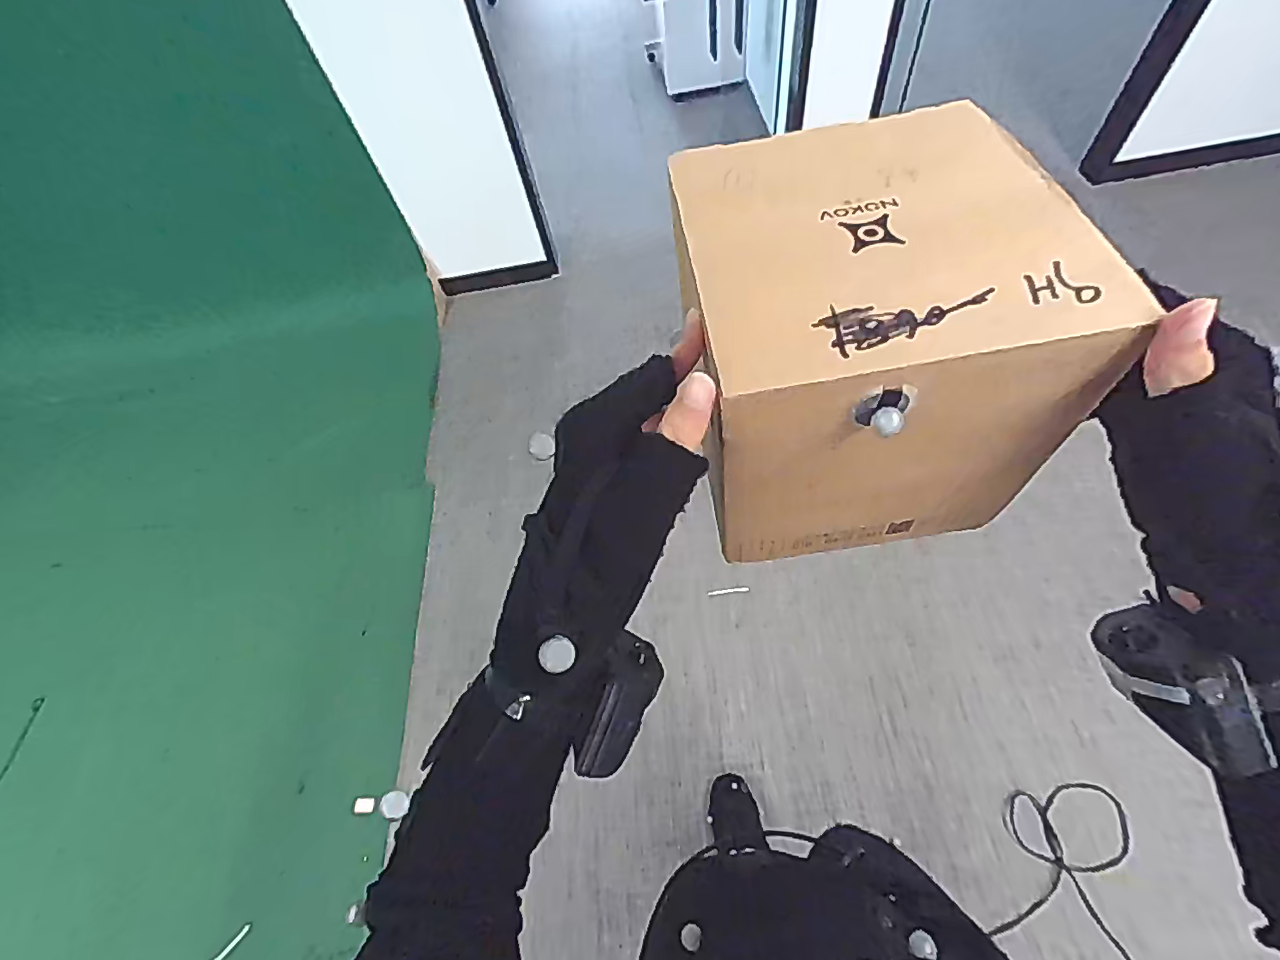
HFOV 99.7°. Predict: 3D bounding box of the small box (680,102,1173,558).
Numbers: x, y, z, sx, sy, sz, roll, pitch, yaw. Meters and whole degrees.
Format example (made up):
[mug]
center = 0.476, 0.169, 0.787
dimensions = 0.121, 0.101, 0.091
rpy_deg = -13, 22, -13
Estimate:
[small box]
center = 0.116, -0.075, 0.312
dimensions = 0.168, 0.176, 0.179
rpy_deg = -9, 57, 4
